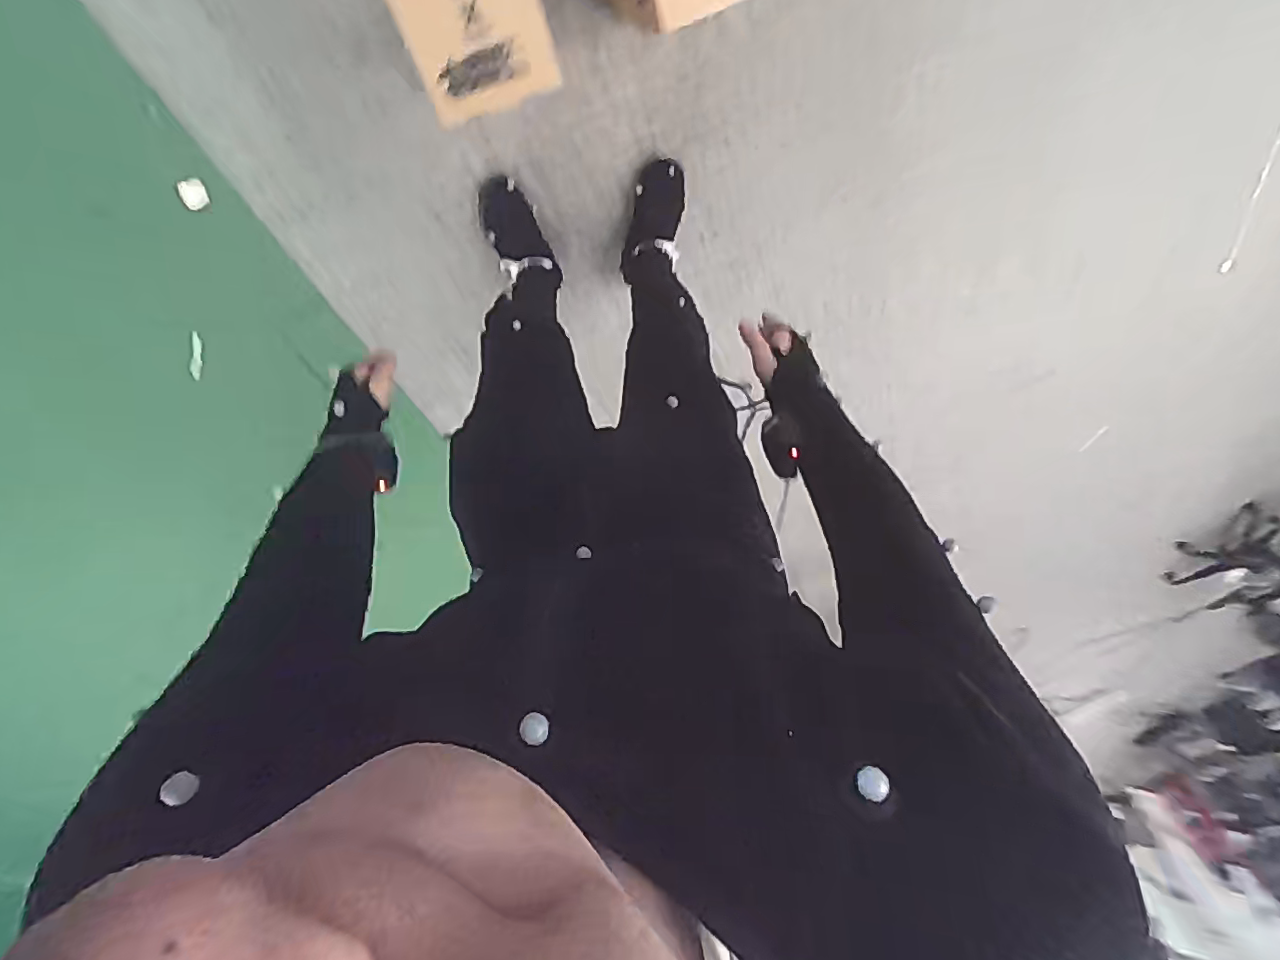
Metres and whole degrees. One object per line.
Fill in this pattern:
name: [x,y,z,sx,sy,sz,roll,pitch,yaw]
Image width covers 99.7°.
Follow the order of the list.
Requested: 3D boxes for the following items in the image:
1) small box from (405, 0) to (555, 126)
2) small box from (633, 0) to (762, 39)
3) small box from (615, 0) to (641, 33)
small box: [-0.244,-0.685,0.838,0.168,0.176,0.179,-20,132,1]
small box: [0.073,-0.806,0.828,0.179,0.176,0.168,-21,132,2]
small box: [0.033,-0.916,0.943,0.179,0.176,0.168,-22,132,5]
